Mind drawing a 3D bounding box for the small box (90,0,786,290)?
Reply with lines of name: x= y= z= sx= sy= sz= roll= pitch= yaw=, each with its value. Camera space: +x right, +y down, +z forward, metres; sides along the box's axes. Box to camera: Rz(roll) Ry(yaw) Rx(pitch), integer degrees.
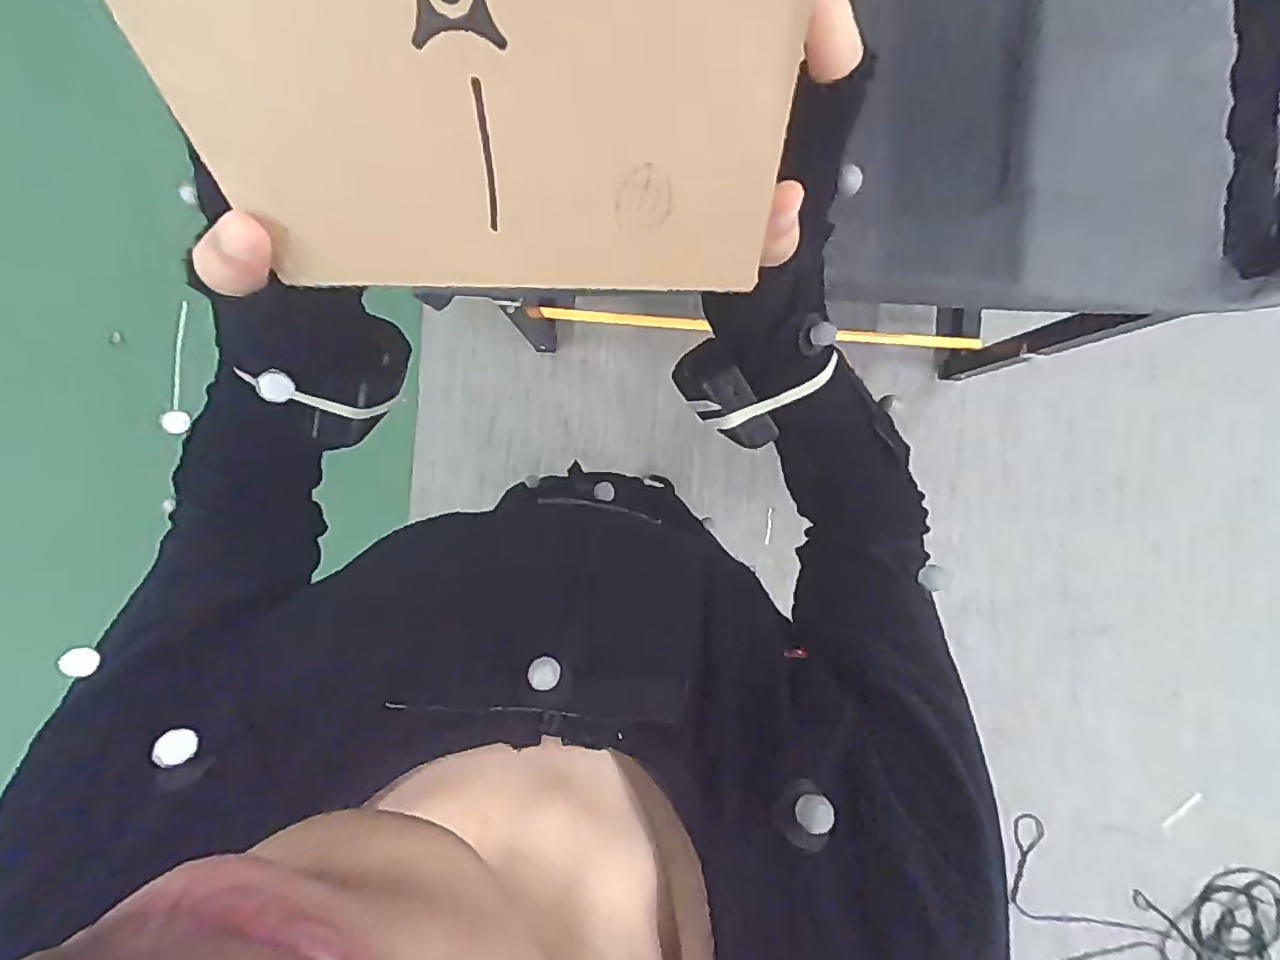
small box: x=-0.046 y=-0.184 z=0.166 sx=0.168 sy=0.179 sz=0.176 roll=1 pitch=54 yaw=1
